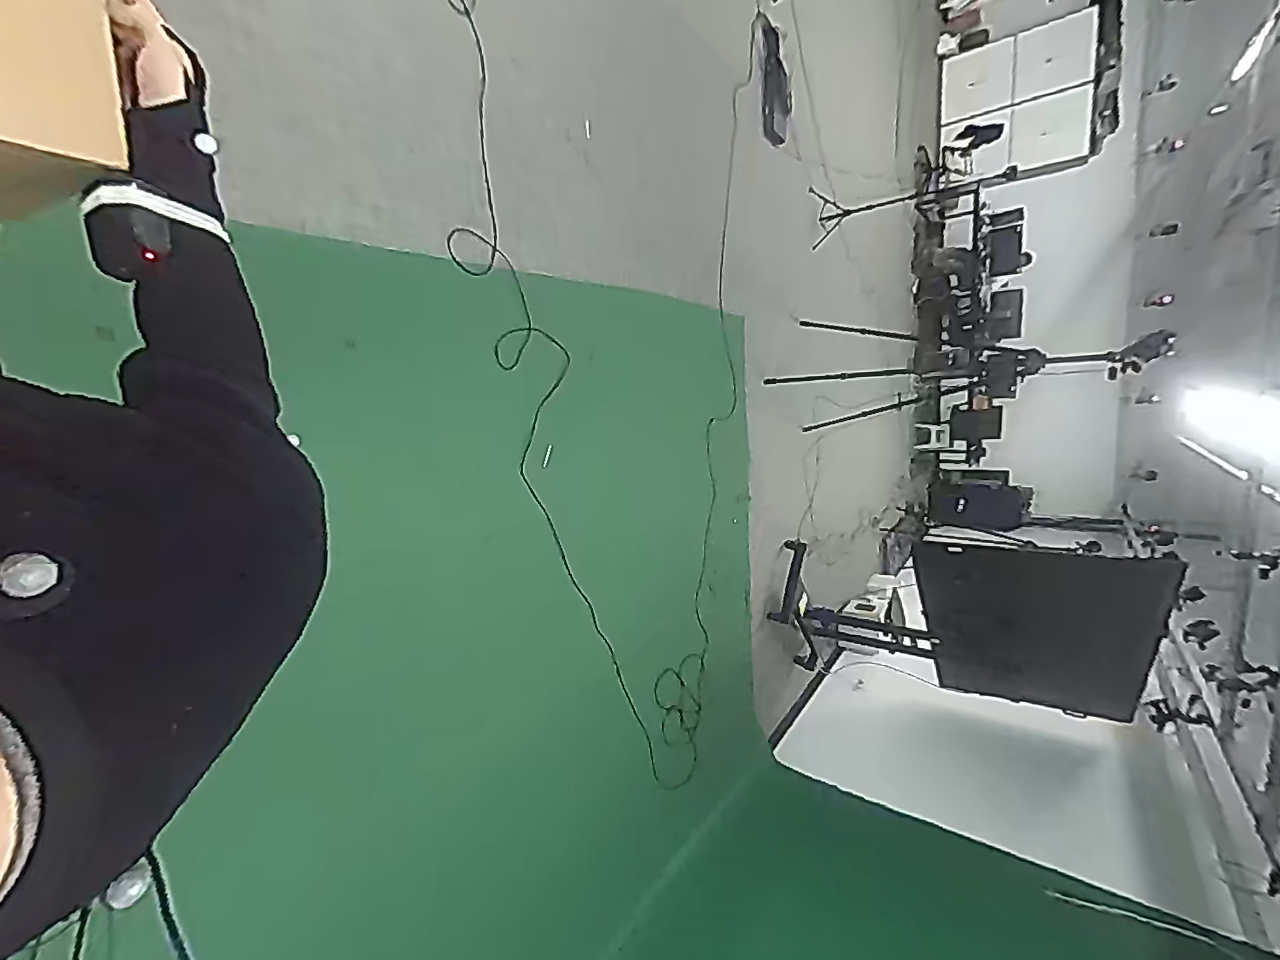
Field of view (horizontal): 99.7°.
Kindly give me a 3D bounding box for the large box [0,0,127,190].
[{"bbox_3d":[-0.638,-0.400,0.313,0.408,0.320,0.320,-18,112,-56],"label":"large box"}]
